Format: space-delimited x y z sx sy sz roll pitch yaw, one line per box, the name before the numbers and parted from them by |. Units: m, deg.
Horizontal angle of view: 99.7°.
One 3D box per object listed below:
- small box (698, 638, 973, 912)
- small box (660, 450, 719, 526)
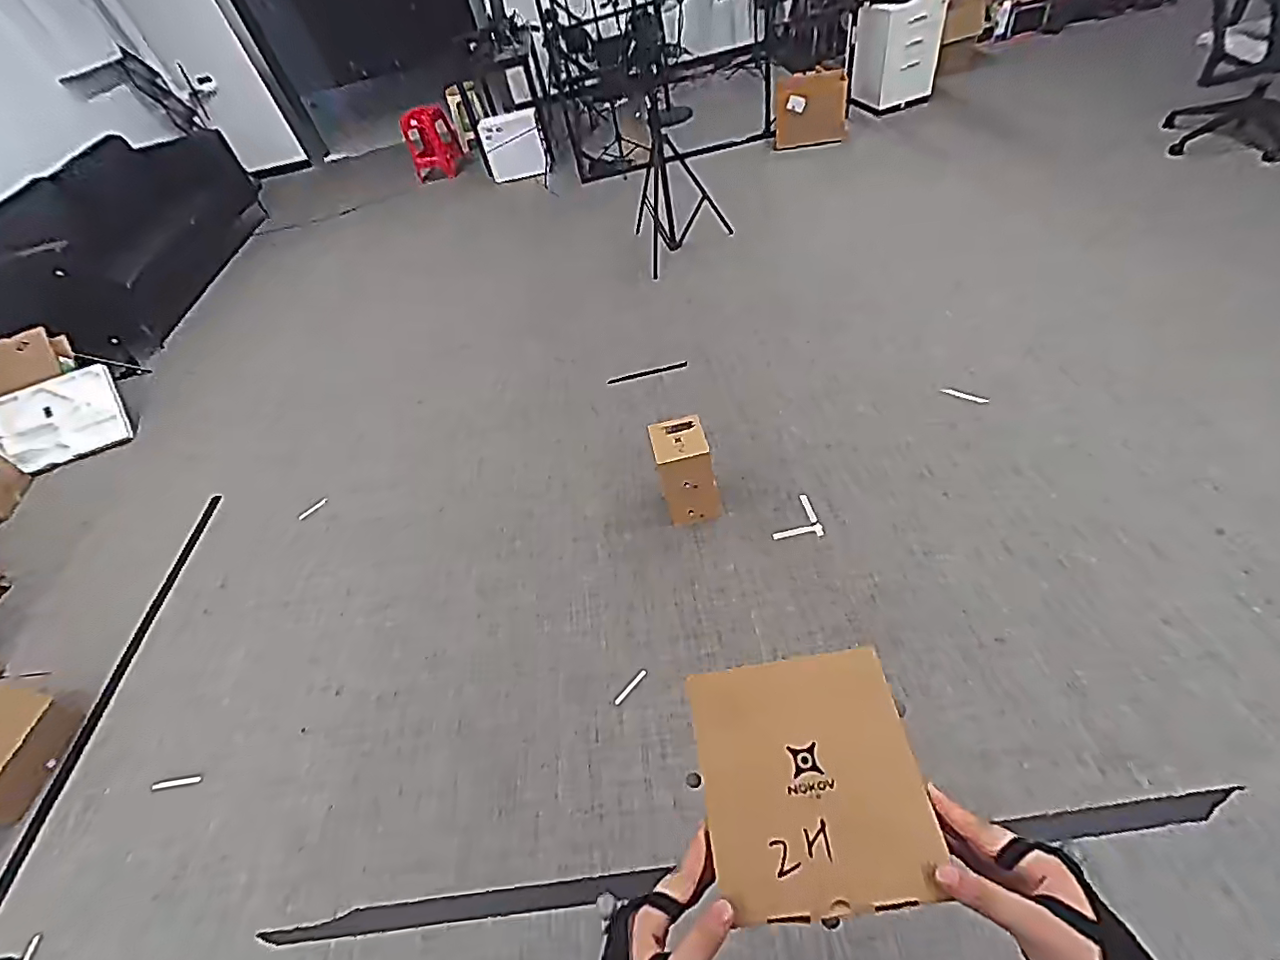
small box | 0.151 0.264 0.483 0.168 0.176 0.179 -11 54 5
small box | 0.169 0.028 1.852 0.168 0.176 0.179 -13 48 2
